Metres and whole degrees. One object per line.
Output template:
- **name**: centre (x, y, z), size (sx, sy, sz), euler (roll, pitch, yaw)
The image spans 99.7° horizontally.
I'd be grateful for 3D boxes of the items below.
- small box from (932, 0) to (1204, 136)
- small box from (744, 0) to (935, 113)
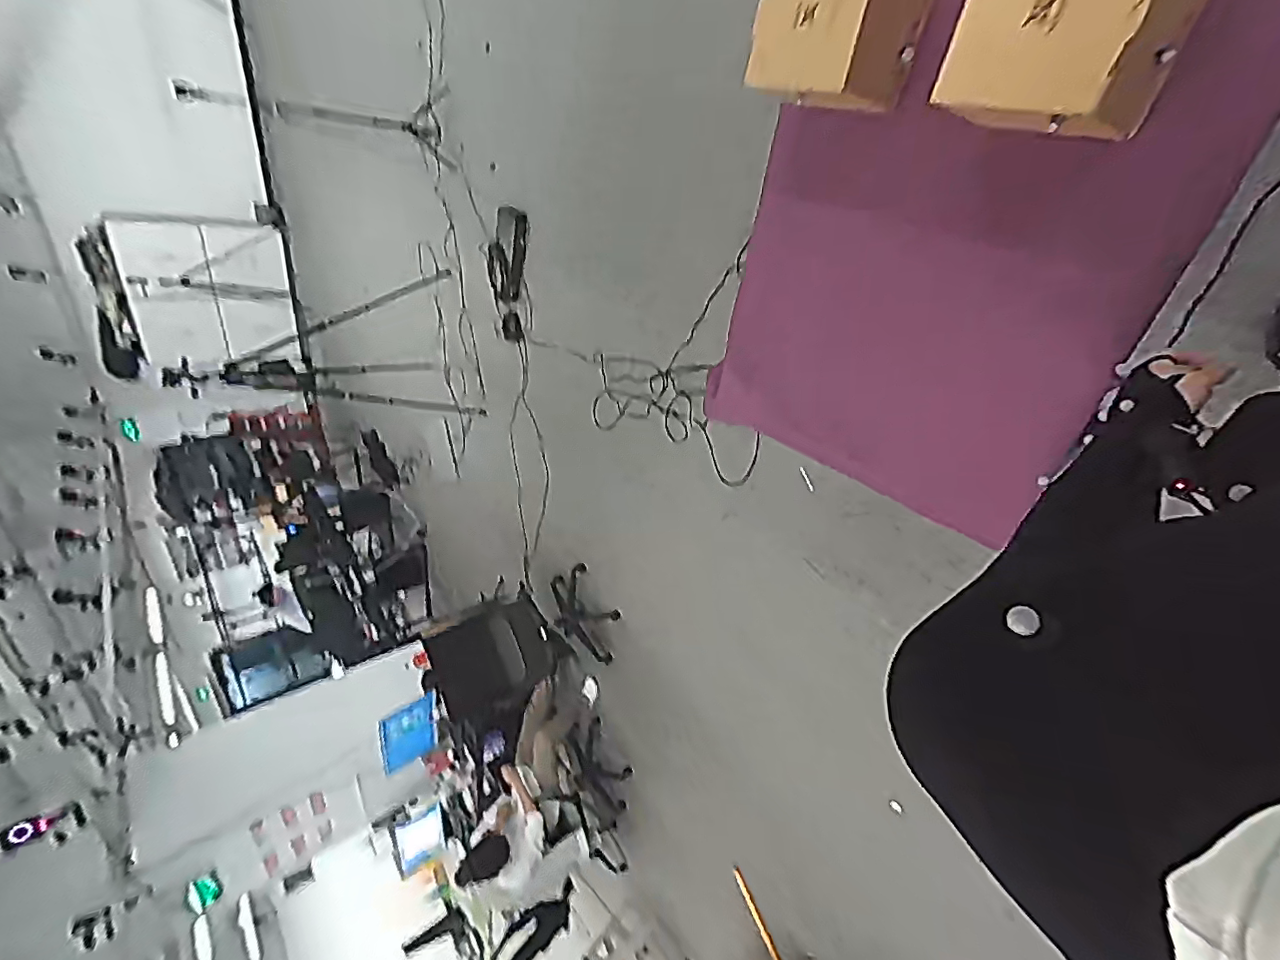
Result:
- **small box**: centre (0.479, -0.500, 0.605), size (0.179, 0.176, 0.168), euler (38, 130, 37)
- **small box**: centre (0.287, -0.649, 0.784), size (0.179, 0.176, 0.168), euler (36, 130, 36)
